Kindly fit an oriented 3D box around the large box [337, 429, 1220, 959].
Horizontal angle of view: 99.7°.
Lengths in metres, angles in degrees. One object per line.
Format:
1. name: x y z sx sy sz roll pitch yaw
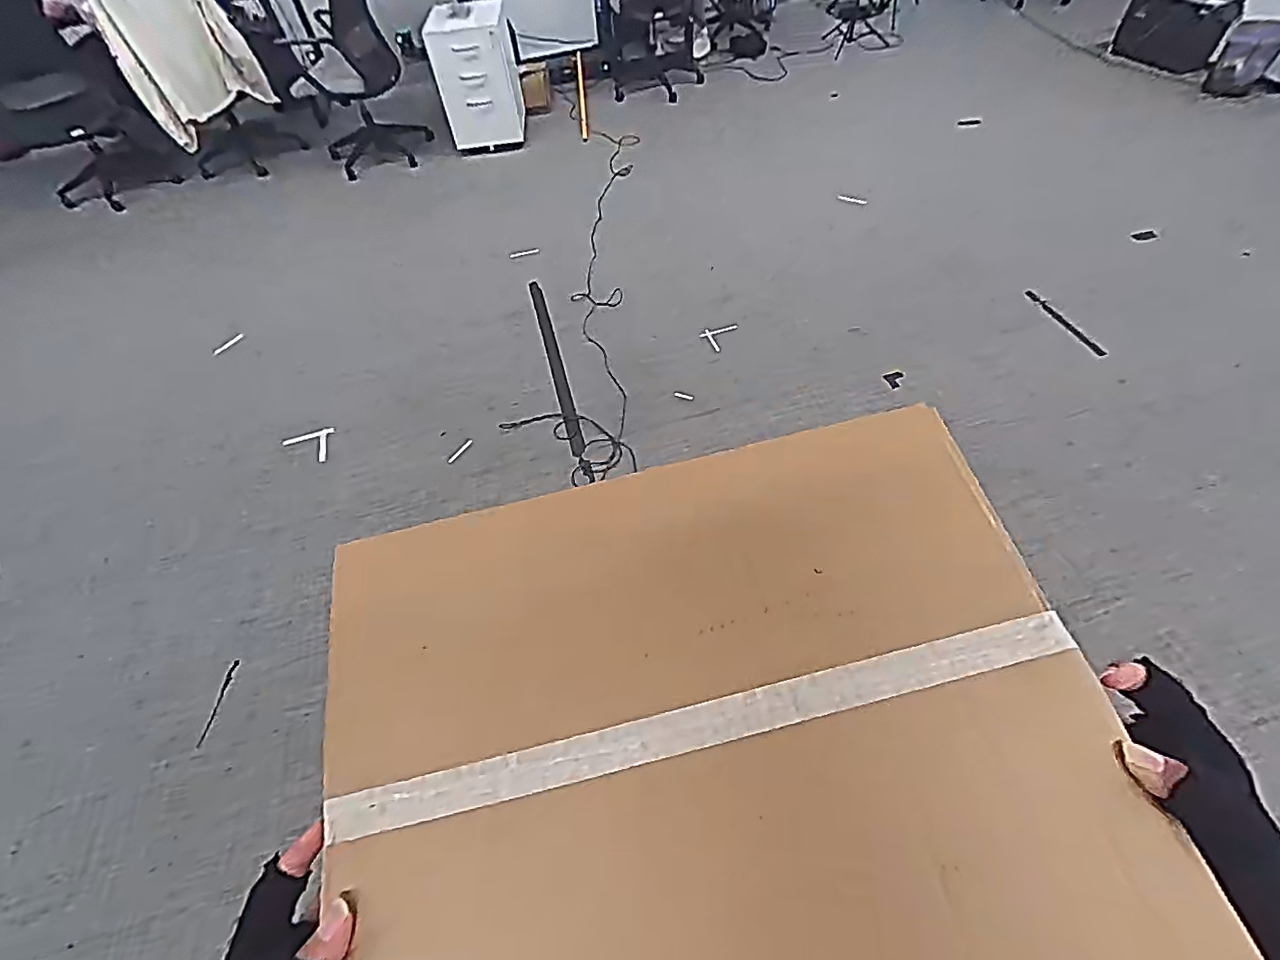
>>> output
1. large box: 0.047 0.210 0.428 0.408 0.320 0.320 -14 62 -1
